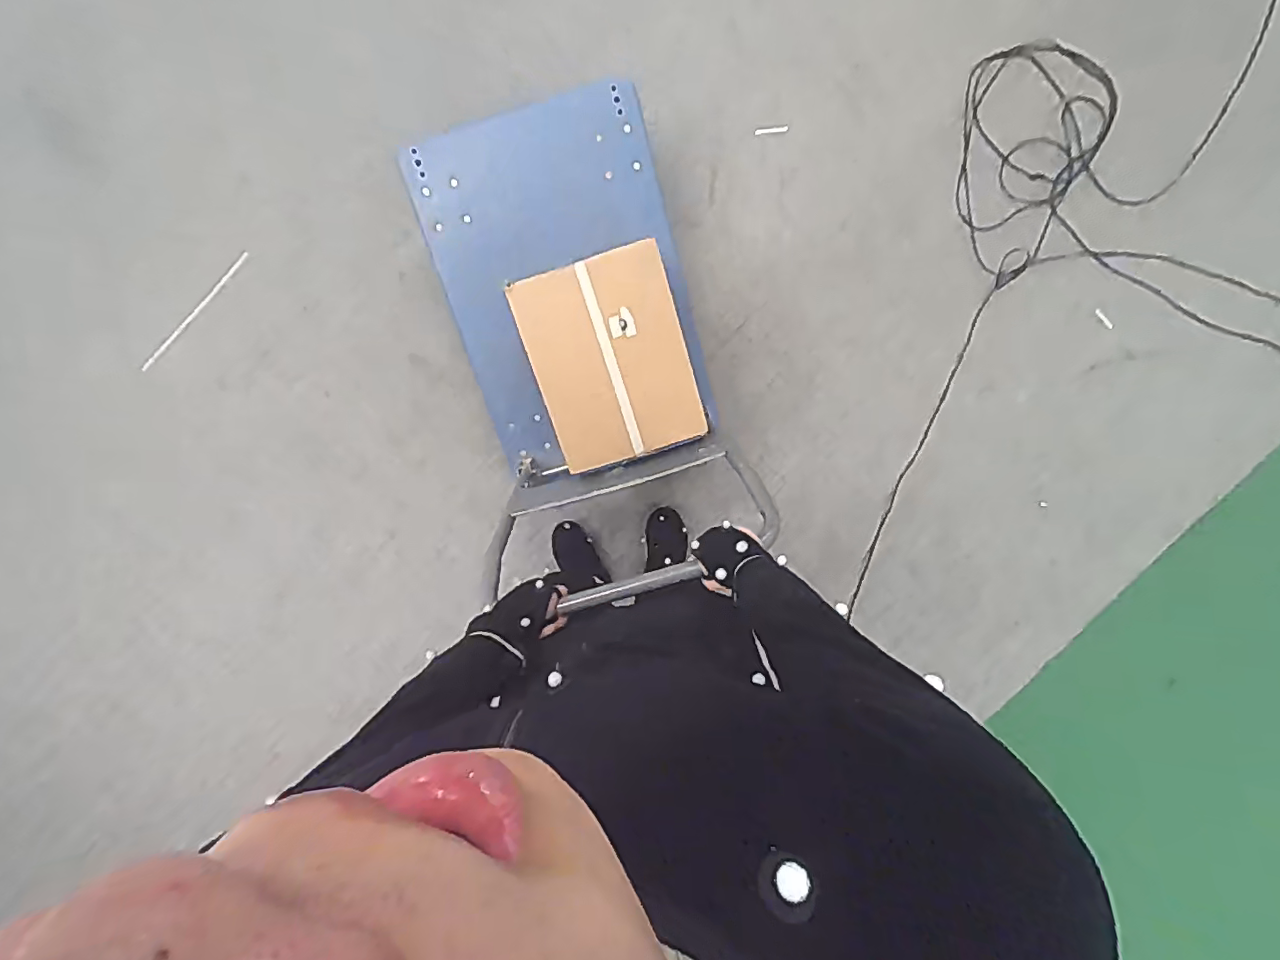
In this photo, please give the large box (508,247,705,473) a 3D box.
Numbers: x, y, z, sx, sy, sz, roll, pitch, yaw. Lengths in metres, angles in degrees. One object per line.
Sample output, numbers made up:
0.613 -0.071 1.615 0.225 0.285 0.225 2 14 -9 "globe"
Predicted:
-0.067 -0.277 1.272 0.320 0.320 0.408 -17 105 2 "large box"
